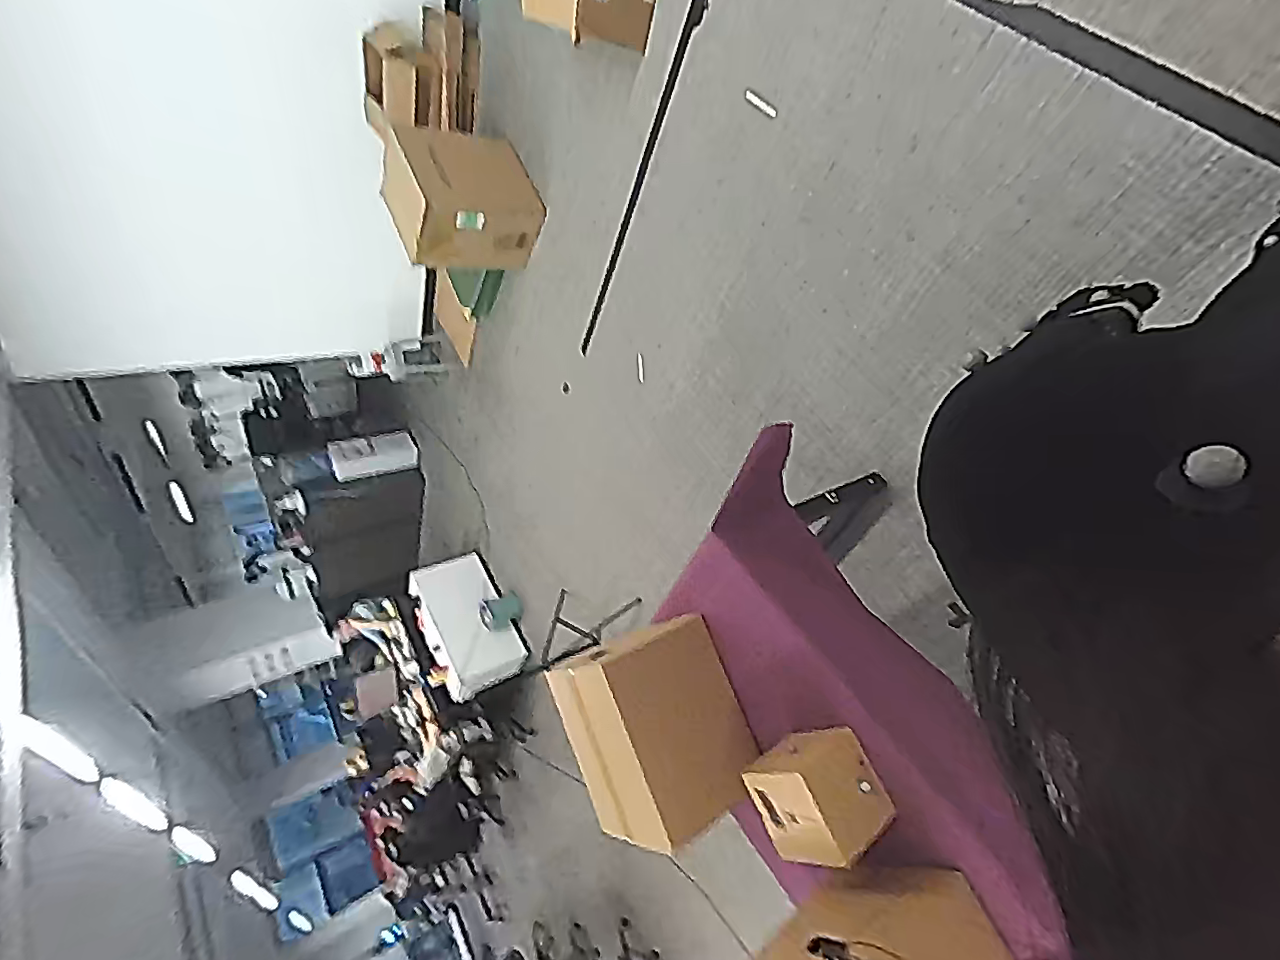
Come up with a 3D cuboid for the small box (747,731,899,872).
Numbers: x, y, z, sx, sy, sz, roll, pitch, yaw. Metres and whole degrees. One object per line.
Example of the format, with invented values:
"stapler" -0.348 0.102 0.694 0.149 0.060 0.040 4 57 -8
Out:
"small box" 0.346 0.600 1.028 0.179 0.176 0.168 -45 66 51
